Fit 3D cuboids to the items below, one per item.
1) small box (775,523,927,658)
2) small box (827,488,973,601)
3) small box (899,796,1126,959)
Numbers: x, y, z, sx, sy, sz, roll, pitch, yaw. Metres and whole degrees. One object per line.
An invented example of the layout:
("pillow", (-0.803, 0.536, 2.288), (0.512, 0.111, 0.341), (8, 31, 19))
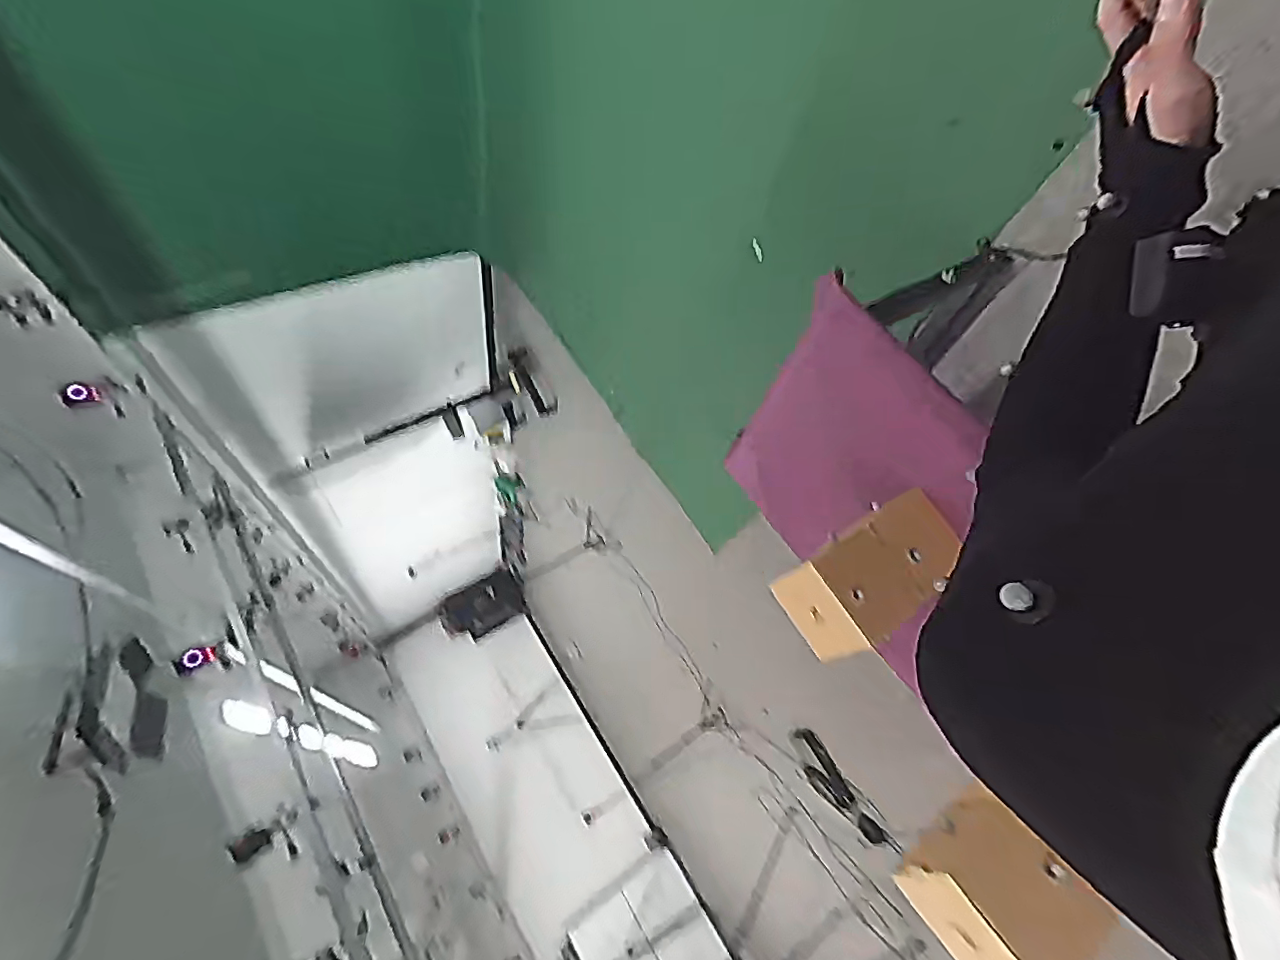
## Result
("small box", (0.404, 0.212, 1.041), (0.179, 0.176, 0.168), (56, 153, 14))
("small box", (0.534, 0.145, 1.114), (0.179, 0.176, 0.168), (57, 154, 13))
("small box", (0.531, 0.588, 0.785), (0.179, 0.176, 0.168), (50, 154, 25))
